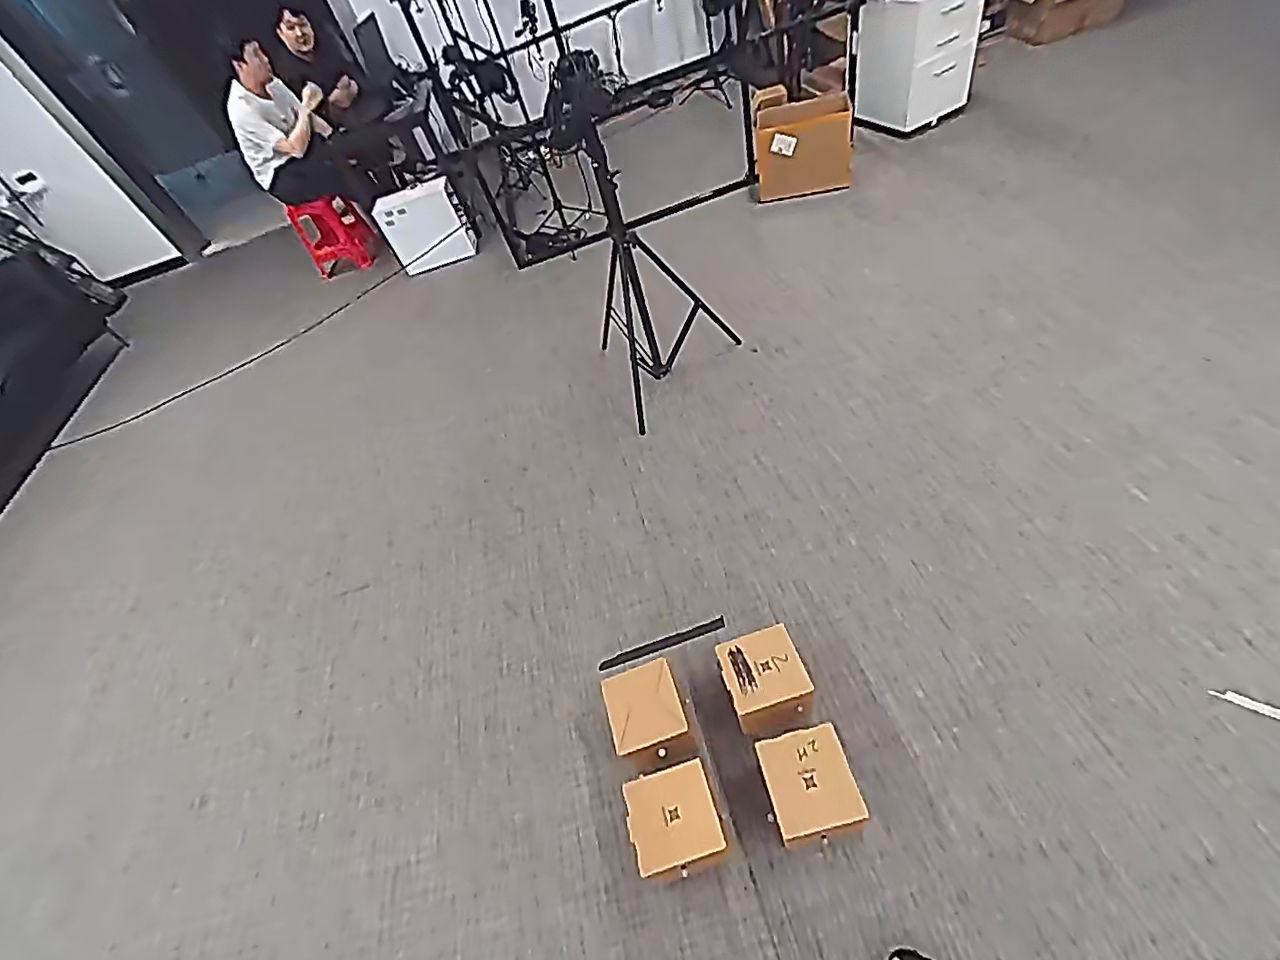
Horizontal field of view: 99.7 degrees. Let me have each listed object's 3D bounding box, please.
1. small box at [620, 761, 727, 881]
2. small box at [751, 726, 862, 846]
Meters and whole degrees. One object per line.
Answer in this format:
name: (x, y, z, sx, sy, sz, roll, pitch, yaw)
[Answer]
small box: (0.075, 0.719, 1.137, 0.179, 0.176, 0.168, -20, 48, 1)
small box: (0.340, 0.639, 1.118, 0.168, 0.176, 0.179, -16, 48, 3)
